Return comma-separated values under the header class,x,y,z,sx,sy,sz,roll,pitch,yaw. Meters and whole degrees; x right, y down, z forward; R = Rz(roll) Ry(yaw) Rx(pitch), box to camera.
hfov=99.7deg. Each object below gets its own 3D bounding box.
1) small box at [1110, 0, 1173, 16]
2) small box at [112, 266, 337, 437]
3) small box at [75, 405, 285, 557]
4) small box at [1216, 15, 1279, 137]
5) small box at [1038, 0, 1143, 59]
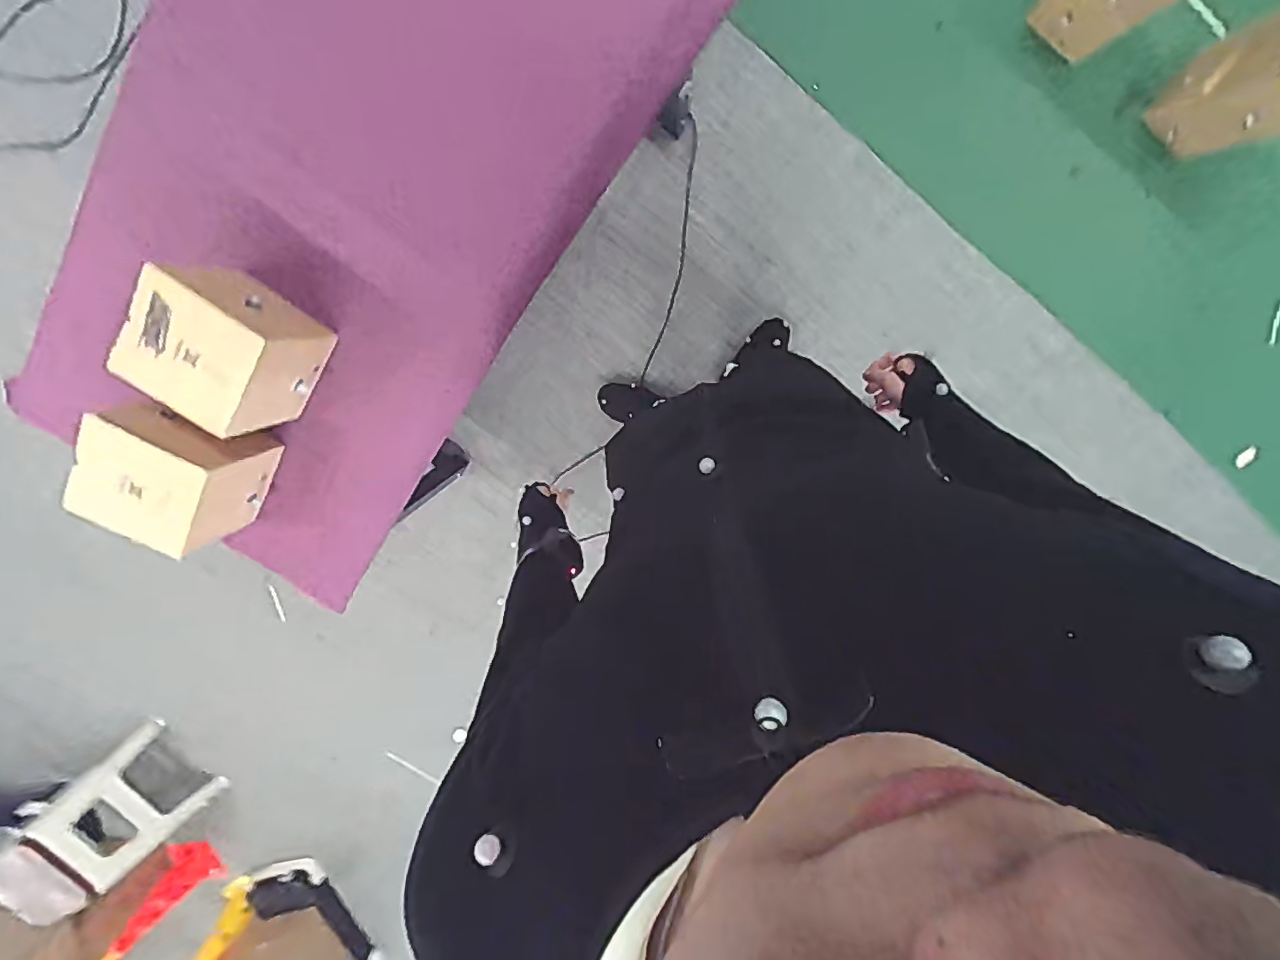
class,x,y,z,sx,sy,sz,roll,pitch,yaw
small box,1.001,-1.030,1.014,0.179,0.176,0.168,33,106,-6
small box,-0.607,-0.191,0.809,0.179,0.176,0.168,35,107,-7
small box,-0.730,-0.011,0.874,0.179,0.176,0.168,30,107,-6
small box,1.314,-0.816,1.052,0.168,0.176,0.179,28,108,-3
small box,1.017,-1.074,1.171,0.168,0.176,0.179,35,106,-6
